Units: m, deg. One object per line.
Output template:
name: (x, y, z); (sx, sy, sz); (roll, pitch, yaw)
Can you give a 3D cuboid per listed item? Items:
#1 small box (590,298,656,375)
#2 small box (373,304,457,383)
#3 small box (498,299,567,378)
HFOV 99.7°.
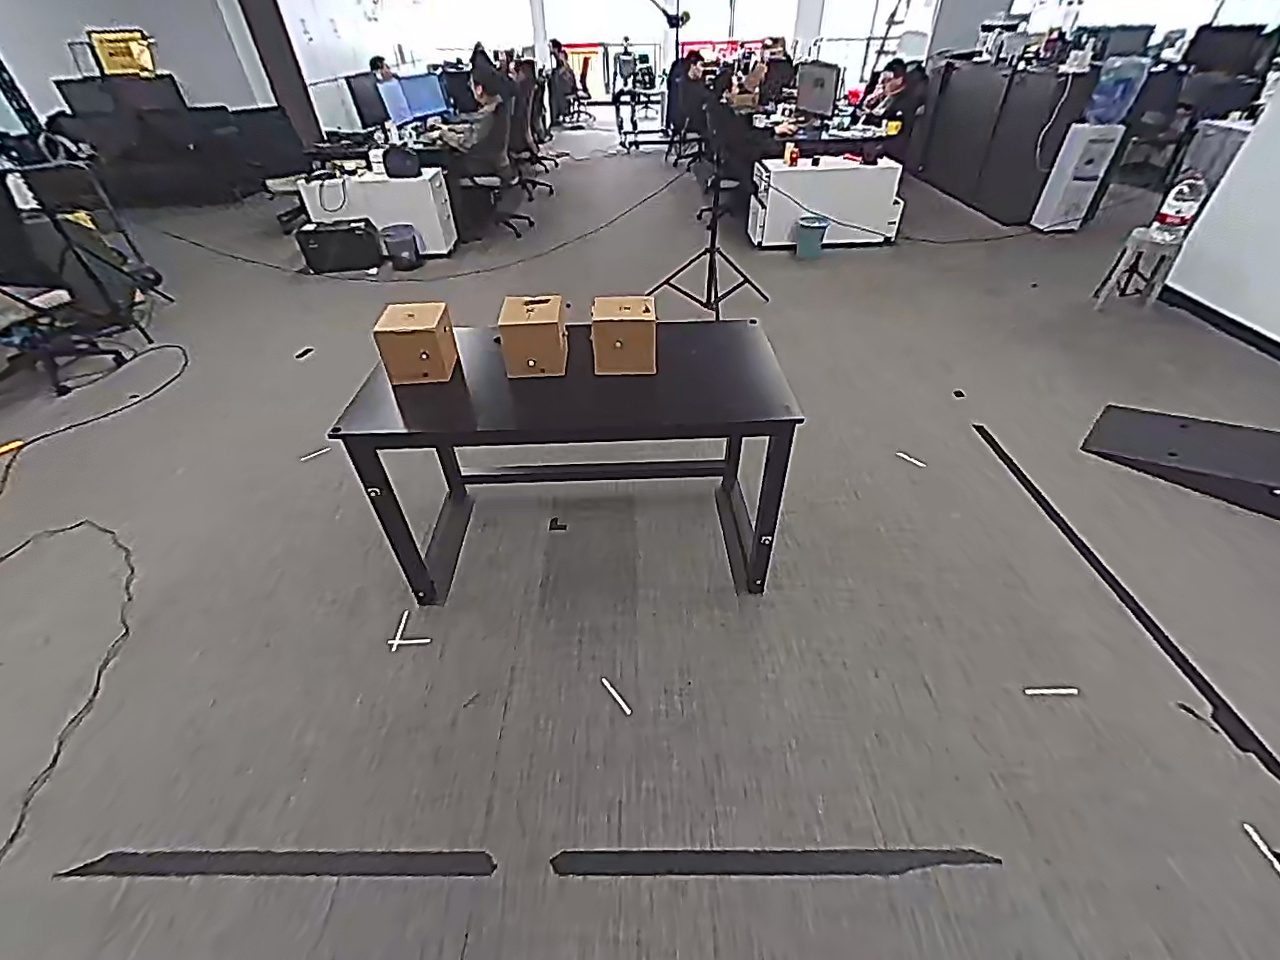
small box: (-0.044, -0.413, 1.565); (0.179, 0.176, 0.168); (-2, 40, 1)
small box: (-0.635, -0.388, 1.551); (0.168, 0.176, 0.179); (-3, 40, -5)
small box: (-0.304, -0.410, 1.567); (0.168, 0.176, 0.179); (-3, 41, -2)
